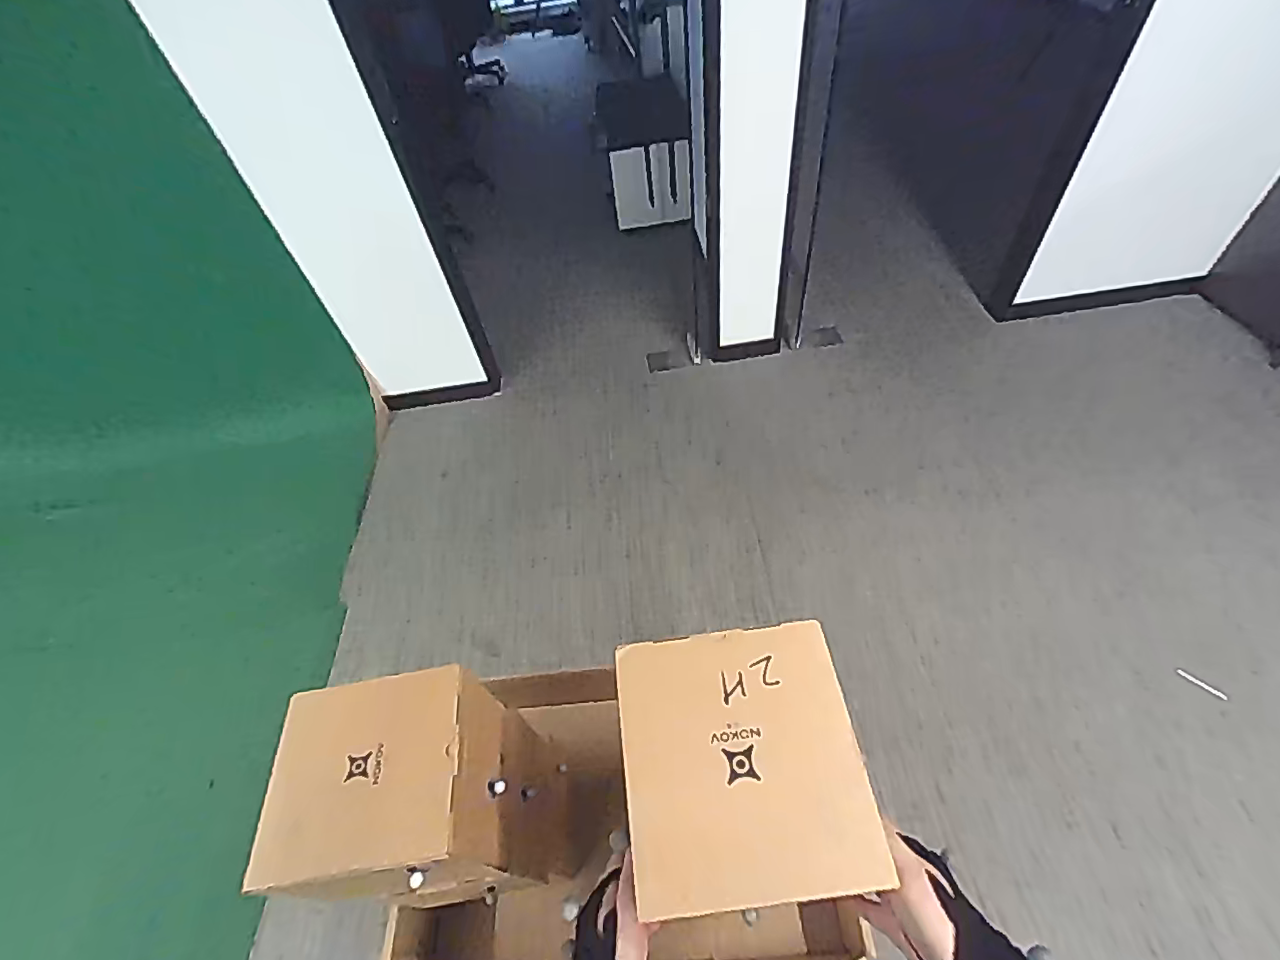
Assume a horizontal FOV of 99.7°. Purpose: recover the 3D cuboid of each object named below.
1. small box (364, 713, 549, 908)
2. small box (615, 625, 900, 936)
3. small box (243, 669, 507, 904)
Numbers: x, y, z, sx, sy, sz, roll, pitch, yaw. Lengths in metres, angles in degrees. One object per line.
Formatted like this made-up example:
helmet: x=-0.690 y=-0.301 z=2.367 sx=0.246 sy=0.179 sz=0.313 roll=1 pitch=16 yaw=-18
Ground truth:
small box: x=-0.213 y=0.419 z=0.682 sx=0.168 sy=0.176 sz=0.179 roll=-9 pitch=50 yaw=0
small box: x=0.076 y=0.238 z=0.438 sx=0.168 sy=0.176 sz=0.179 roll=-8 pitch=55 yaw=0
small box: x=-0.246 y=0.319 z=0.557 sx=0.179 sy=0.176 sz=0.168 roll=-10 pitch=50 yaw=-2
